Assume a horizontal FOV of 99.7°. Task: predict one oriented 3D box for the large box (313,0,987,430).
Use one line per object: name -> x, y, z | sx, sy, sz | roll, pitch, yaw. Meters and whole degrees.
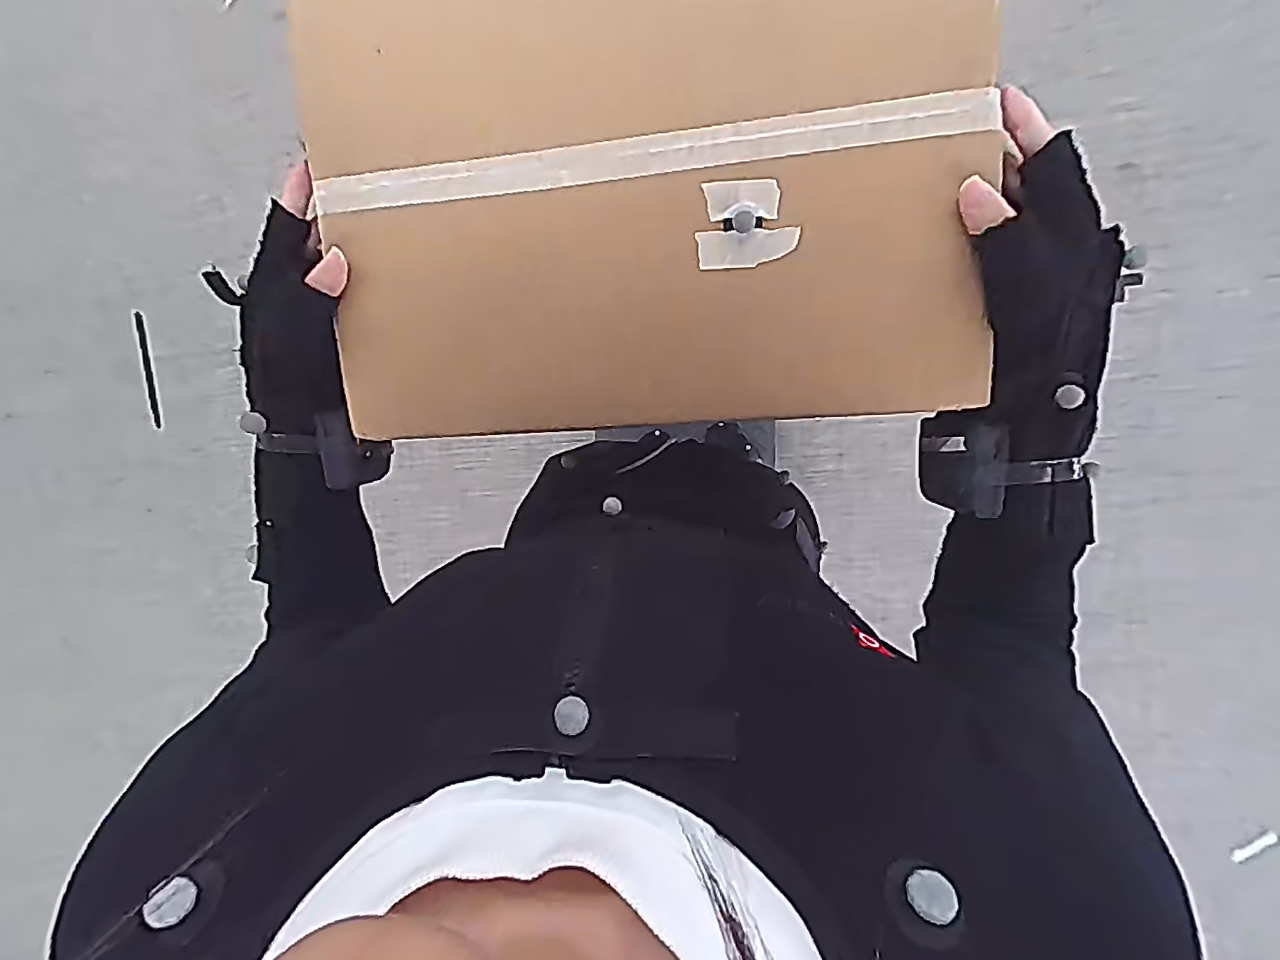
large box -> 0.015, -0.222, 0.478 | 0.408, 0.320, 0.320 | -3, 100, 8
